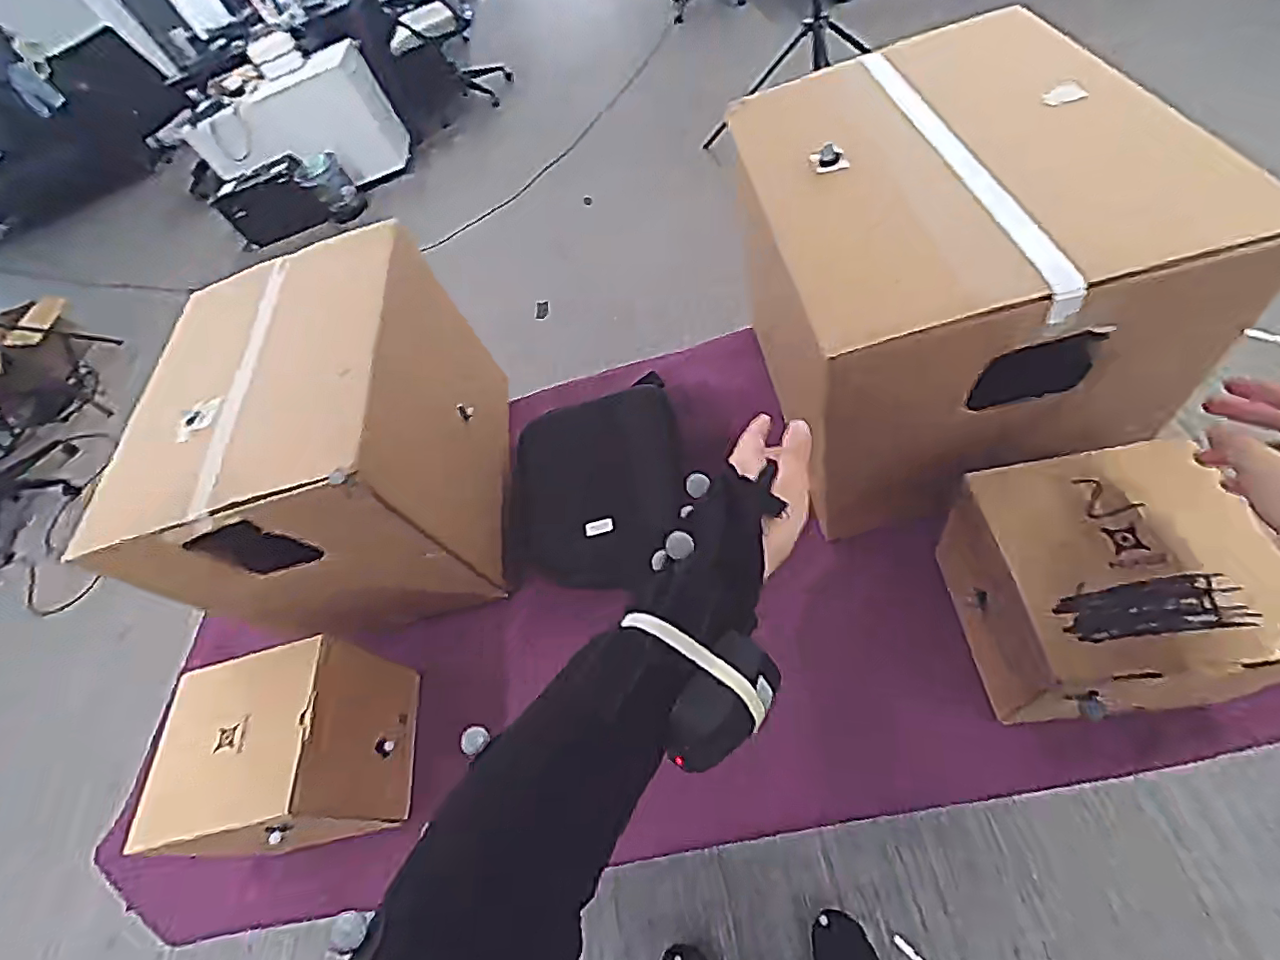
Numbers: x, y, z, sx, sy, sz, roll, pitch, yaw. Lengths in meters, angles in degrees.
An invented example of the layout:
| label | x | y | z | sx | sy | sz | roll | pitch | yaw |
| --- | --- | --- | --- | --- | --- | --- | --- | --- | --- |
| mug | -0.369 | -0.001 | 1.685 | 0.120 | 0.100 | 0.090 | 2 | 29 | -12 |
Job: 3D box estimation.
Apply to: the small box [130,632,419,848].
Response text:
| label | x | y | z | sx | sy | sz | roll | pitch | yaw |
| --- | --- | --- | --- | --- | --- | --- | --- | --- | --- |
| small box | -0.374 | 0.291 | 0.592 | 0.179 | 0.176 | 0.168 | -17 | 54 | 6 |

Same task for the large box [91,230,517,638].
| label | x | y | z | sx | sy | sz | roll | pitch | yaw |
| --- | --- | --- | --- | --- | --- | --- | --- | --- | --- |
| large box | -0.378 | -0.045 | 0.726 | 0.320 | 0.320 | 0.408 | -17 | 57 | 8 |
